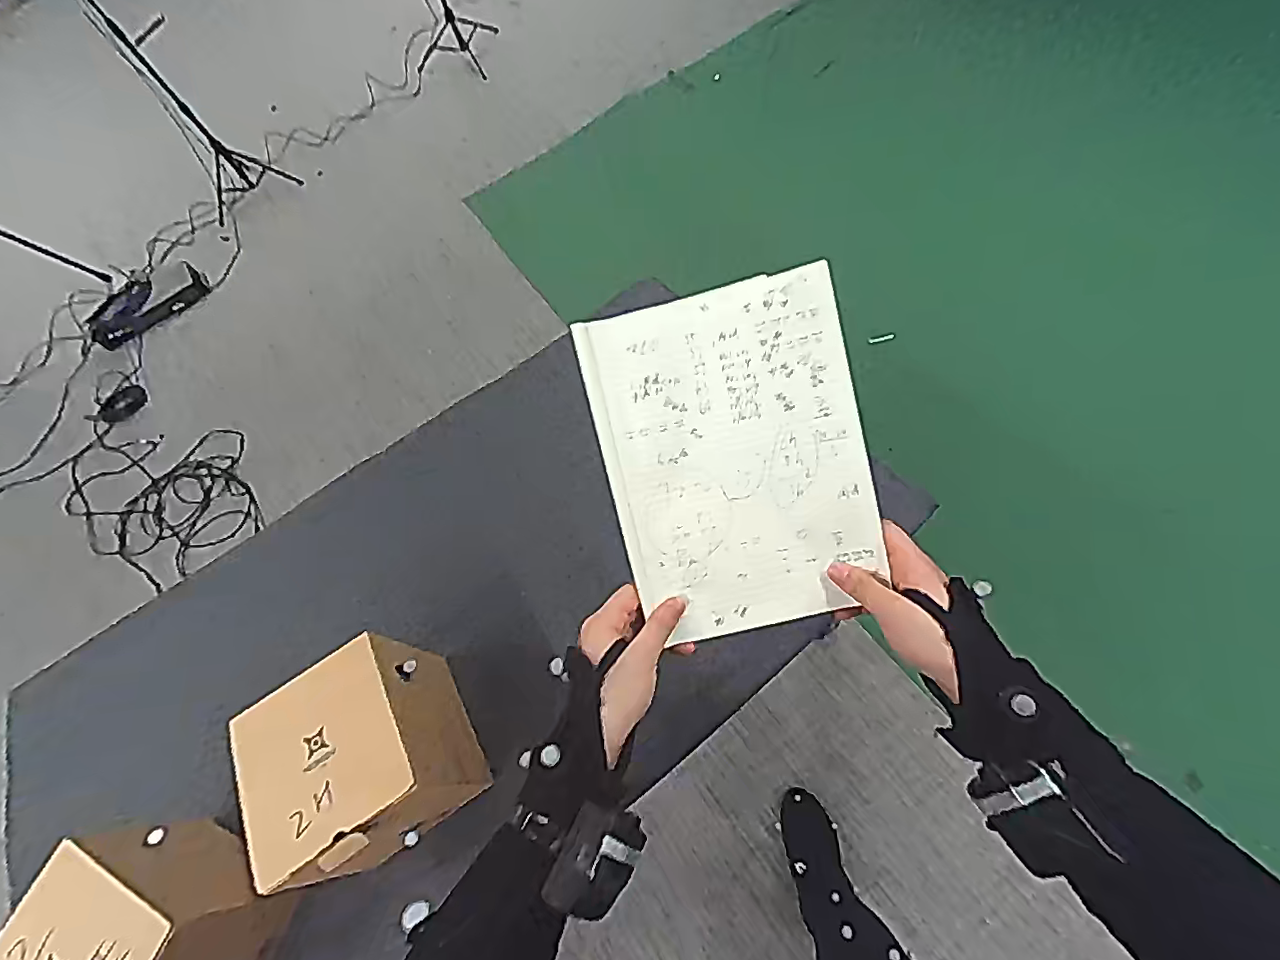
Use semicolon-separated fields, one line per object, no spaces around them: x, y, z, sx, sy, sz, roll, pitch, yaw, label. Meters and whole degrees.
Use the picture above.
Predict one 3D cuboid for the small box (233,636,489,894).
-0.300;0.307;0.602;0.168;0.176;0.179;-34;61;-5;small box
